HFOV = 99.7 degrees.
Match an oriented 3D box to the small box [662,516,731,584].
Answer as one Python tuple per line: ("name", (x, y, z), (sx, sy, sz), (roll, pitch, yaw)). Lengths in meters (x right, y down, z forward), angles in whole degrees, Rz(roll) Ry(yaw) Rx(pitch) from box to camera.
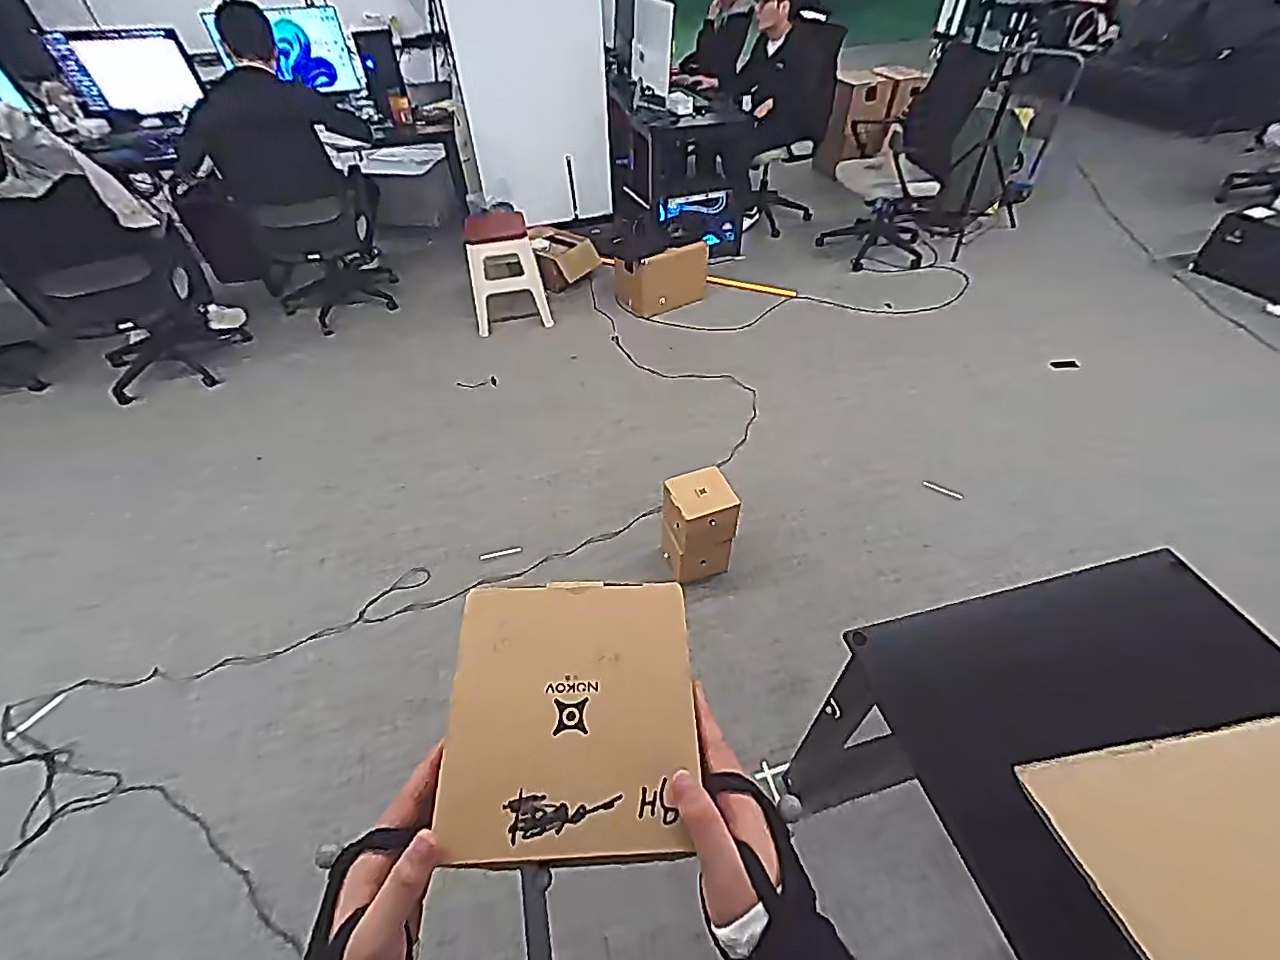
("small box", (0.176, 0.211, 1.751), (0.179, 0.176, 0.168), (-15, 48, -11))

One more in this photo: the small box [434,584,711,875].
("small box", (-0.045, 0.200, 0.430), (0.168, 0.176, 0.179), (-2, 53, -3))

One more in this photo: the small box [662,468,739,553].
("small box", (0.177, 0.096, 1.636), (0.179, 0.176, 0.168), (-16, 49, -15))
